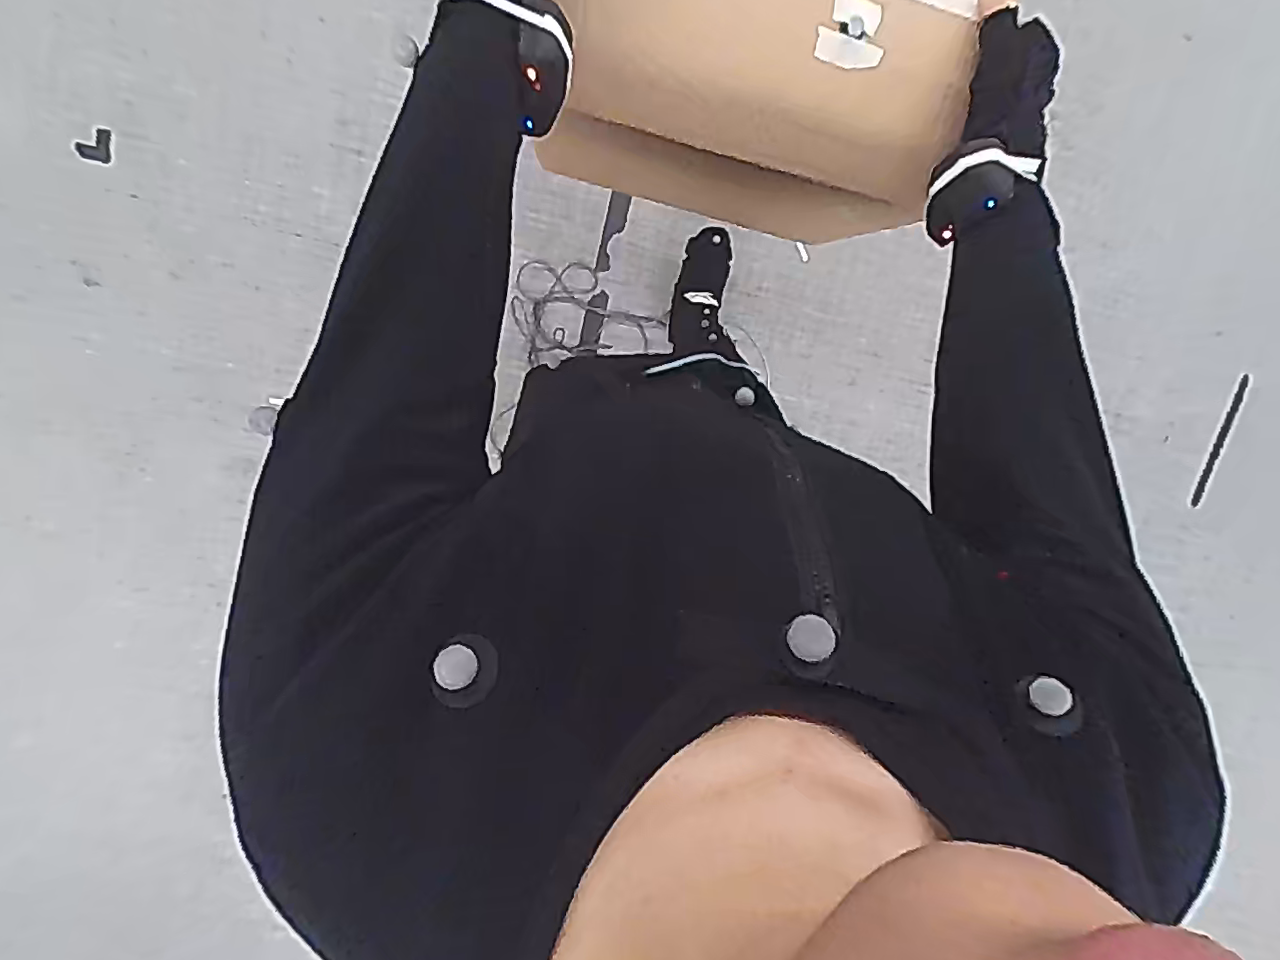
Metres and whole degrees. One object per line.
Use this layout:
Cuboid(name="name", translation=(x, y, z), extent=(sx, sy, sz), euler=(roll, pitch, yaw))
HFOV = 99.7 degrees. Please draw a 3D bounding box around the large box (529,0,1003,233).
Cuboid(name="large box", translation=(0.109, -0.491, 0.592), extent=(0.408, 0.320, 0.320), euler=(10, 109, -10))
